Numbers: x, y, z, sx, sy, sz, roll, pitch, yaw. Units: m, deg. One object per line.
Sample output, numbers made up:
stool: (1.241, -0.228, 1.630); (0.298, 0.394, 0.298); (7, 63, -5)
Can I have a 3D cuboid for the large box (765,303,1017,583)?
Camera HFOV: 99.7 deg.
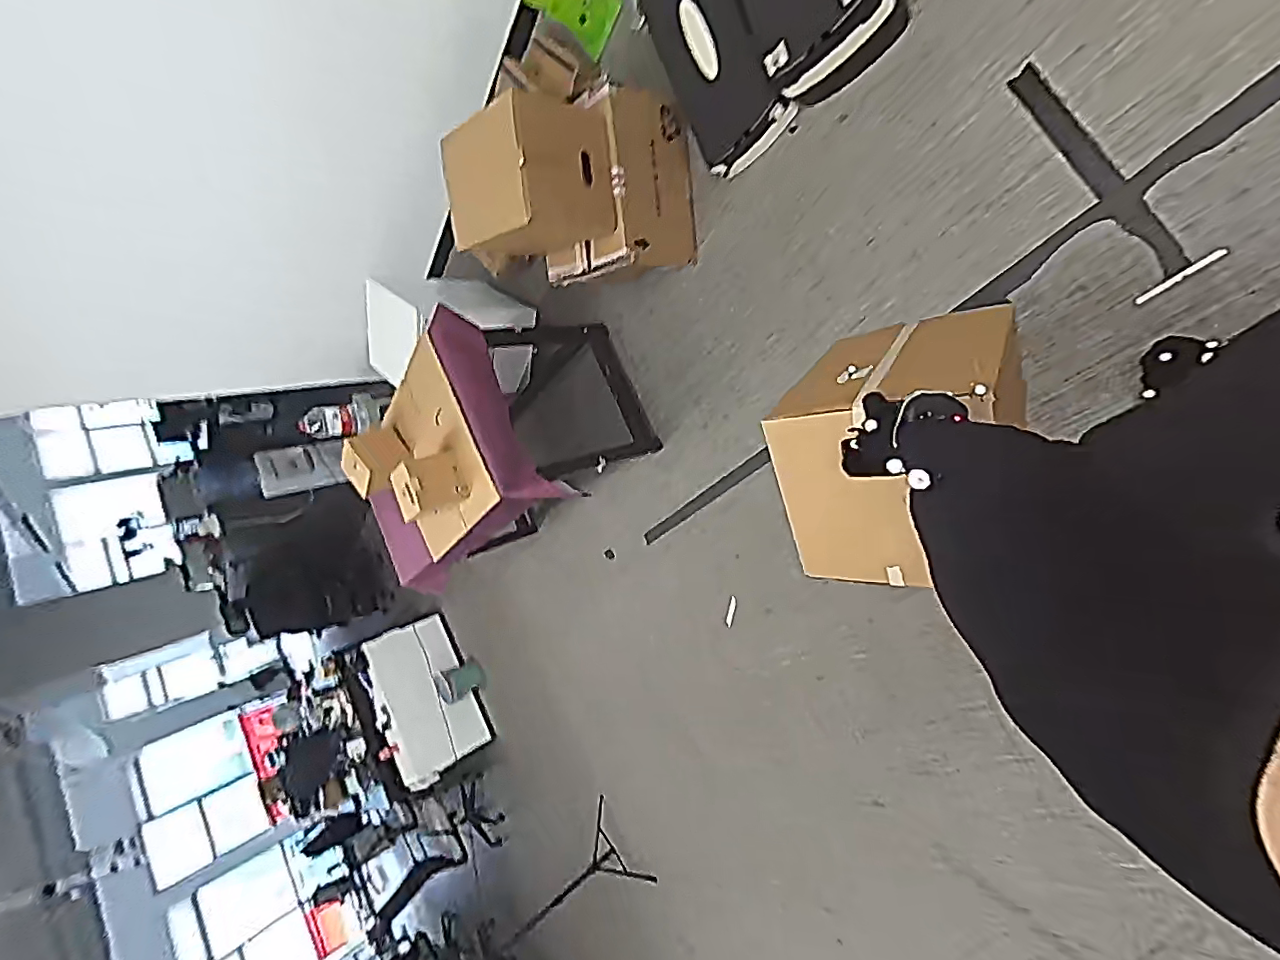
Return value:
large box: (0.466, -0.074, 0.952); (0.320, 0.408, 0.320); (-3, 119, 39)
